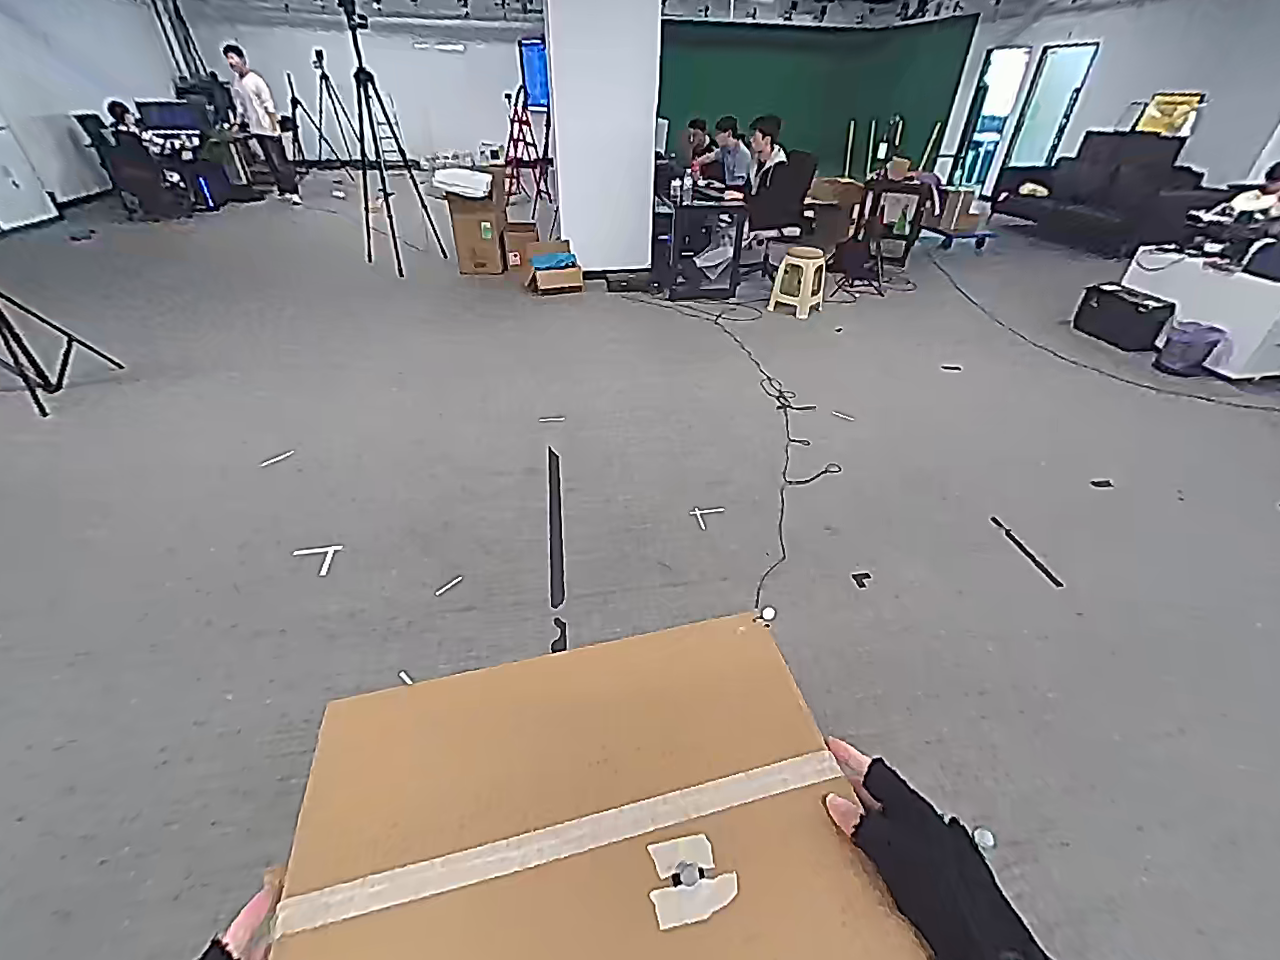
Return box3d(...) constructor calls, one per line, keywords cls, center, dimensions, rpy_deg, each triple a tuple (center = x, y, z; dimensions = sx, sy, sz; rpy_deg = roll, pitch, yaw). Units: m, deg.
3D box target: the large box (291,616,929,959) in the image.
box3d(cls="large box", center=(-0.040, 0.380, 0.497), dimensions=(0.408, 0.320, 0.320), rpy_deg=(-9, 40, -11))
